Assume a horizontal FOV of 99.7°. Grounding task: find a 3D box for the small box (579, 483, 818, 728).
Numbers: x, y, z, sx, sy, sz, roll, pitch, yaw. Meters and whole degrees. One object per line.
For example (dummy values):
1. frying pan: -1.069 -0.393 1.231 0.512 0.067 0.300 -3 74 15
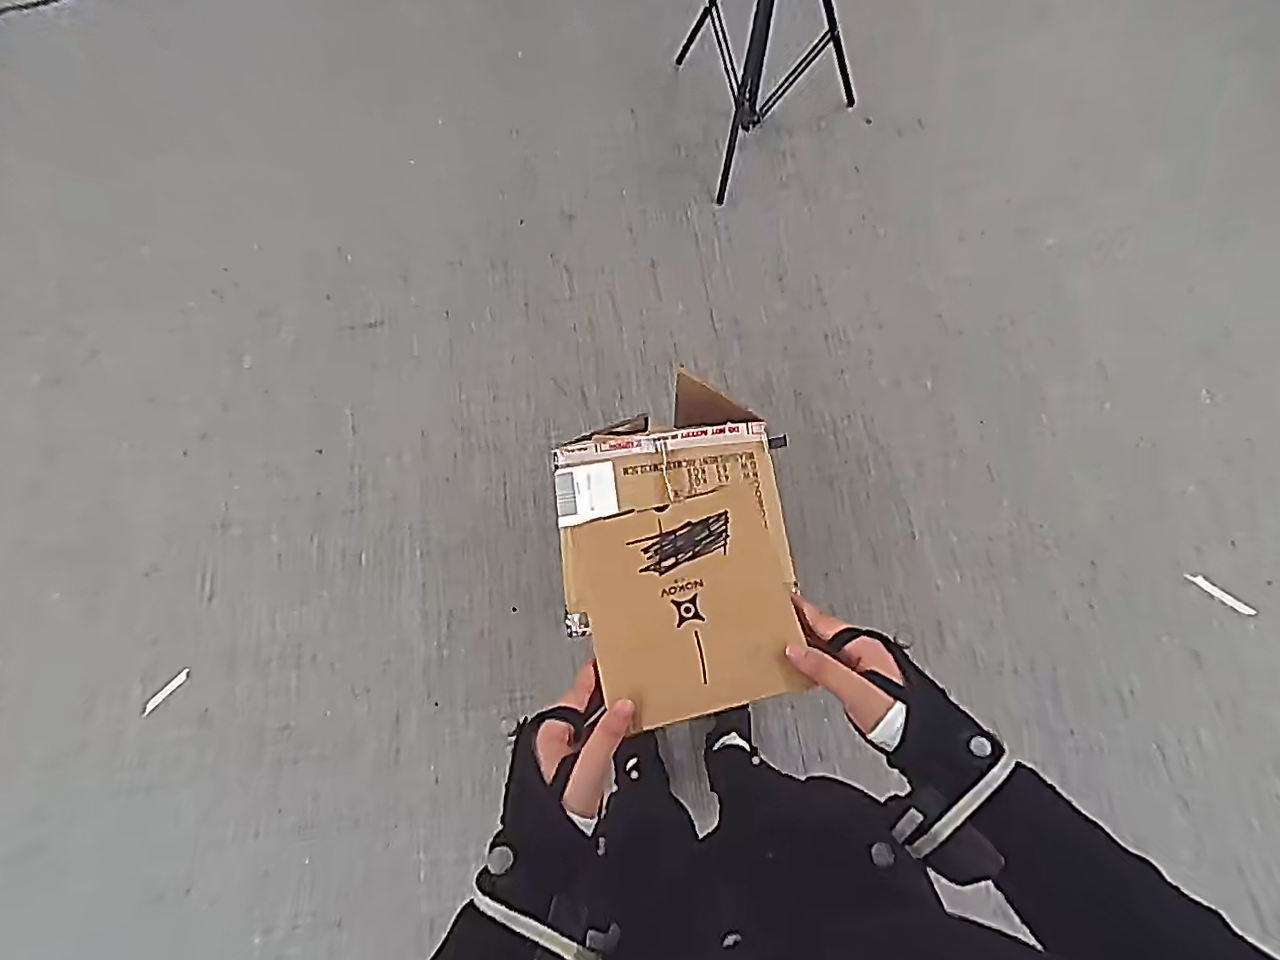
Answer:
1. small box: 0.047 0.127 0.521 0.168 0.176 0.179 -14 67 0
